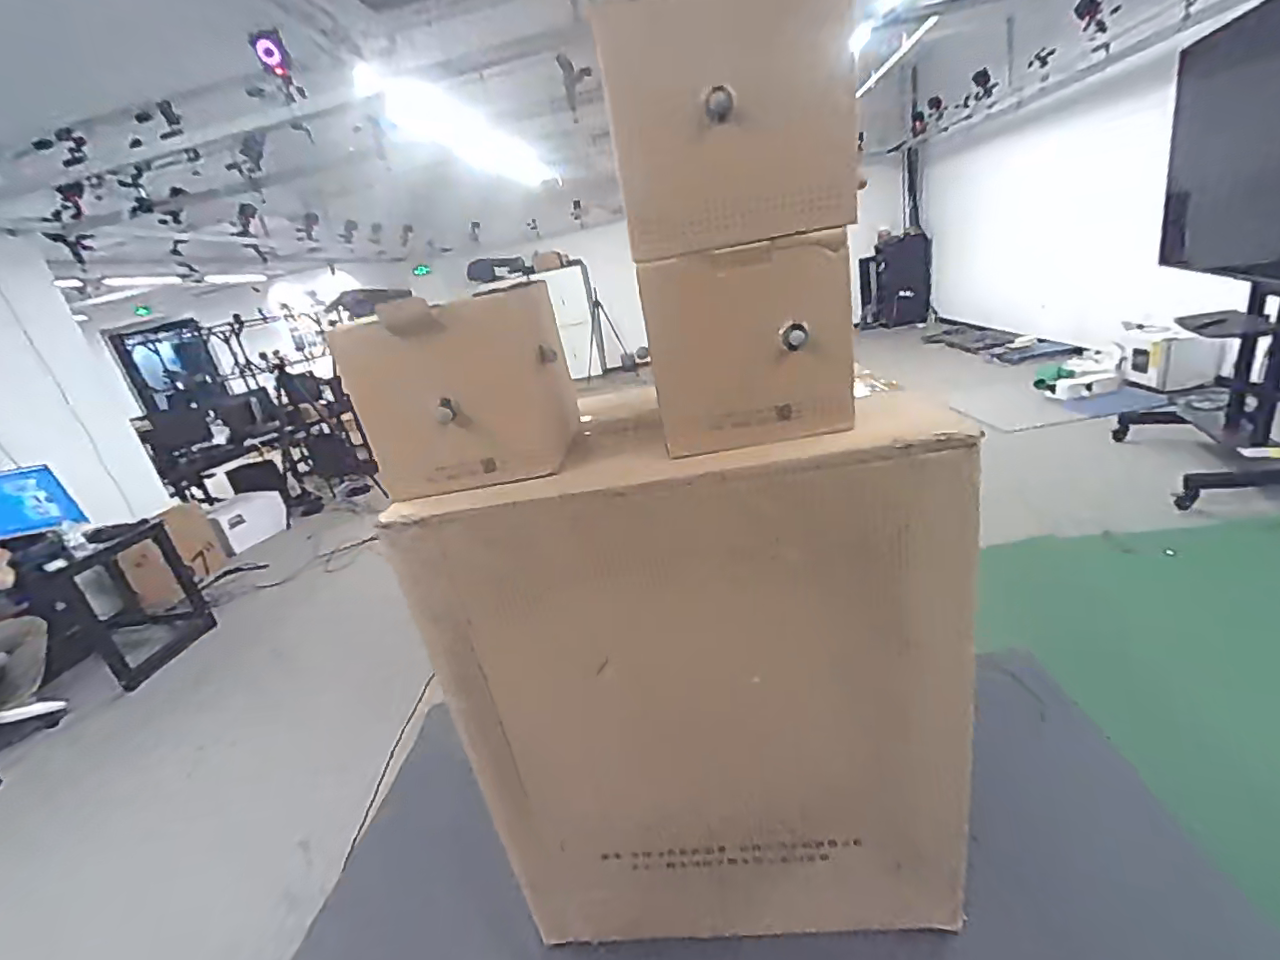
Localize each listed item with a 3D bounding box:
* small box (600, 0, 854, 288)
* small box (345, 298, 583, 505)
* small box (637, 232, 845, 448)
[{"bbox_3d":[0.078,-0.270,0.473,0.179,0.176,0.168,-6,22,10],"label":"small box"},{"bbox_3d":[-0.165,-0.083,0.576,0.168,0.176,0.179,-11,22,5],"label":"small box"},{"bbox_3d":[0.095,-0.135,0.530,0.168,0.176,0.179,-7,21,6],"label":"small box"}]
